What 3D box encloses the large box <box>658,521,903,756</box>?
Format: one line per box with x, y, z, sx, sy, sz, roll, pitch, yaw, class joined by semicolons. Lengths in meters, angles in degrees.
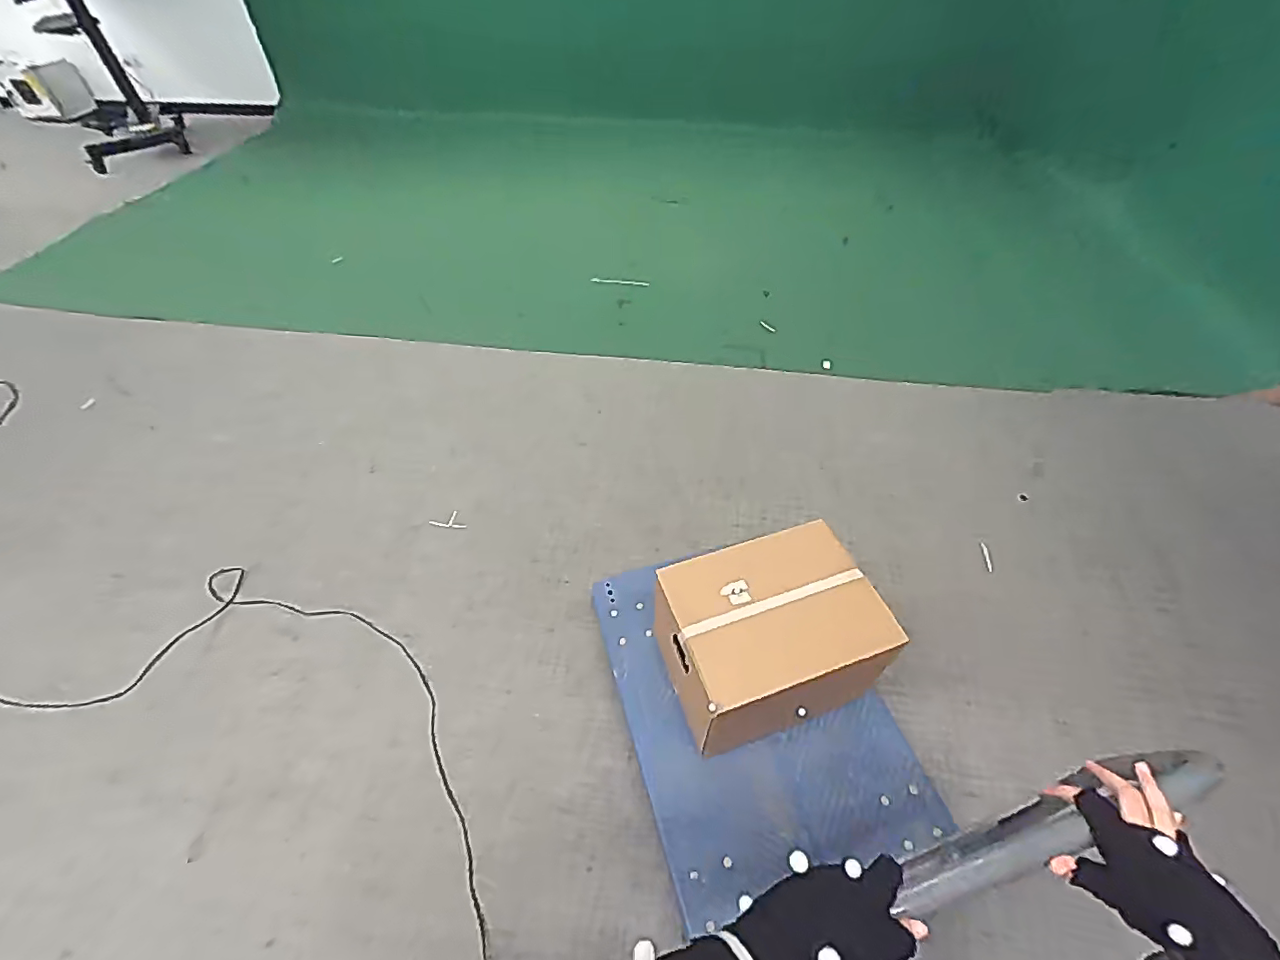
0.279;0.350;1.202;0.408;0.320;0.320;-17;50;-12;large box
